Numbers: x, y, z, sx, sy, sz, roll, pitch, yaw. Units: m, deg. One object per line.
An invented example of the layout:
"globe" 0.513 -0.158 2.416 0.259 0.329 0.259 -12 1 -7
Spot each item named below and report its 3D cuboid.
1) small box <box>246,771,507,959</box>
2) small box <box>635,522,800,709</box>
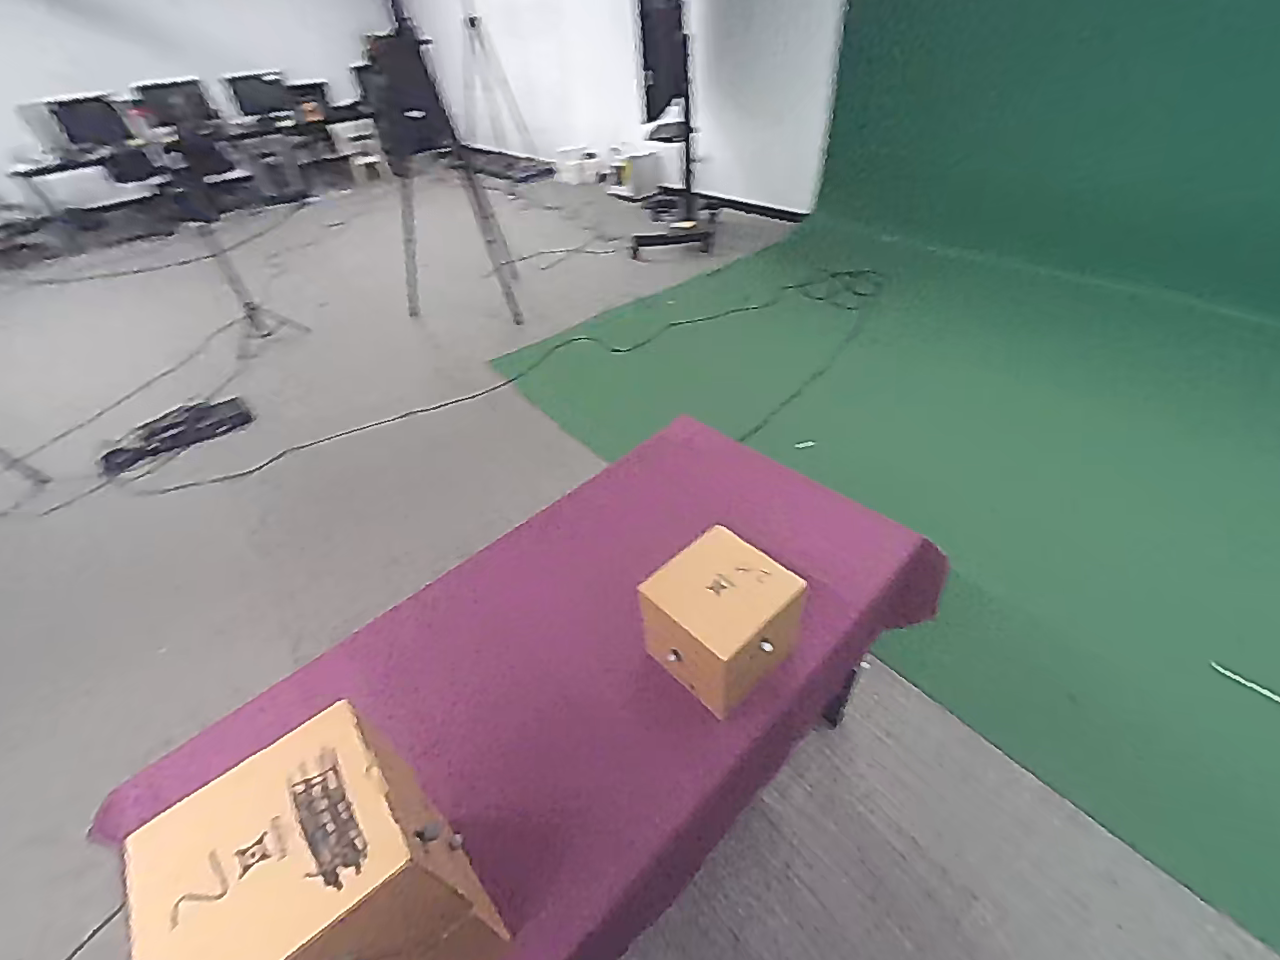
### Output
"small box" -0.267 0.463 0.573 0.168 0.176 0.179 -34 50 -28
"small box" 0.116 0.204 0.815 0.179 0.176 0.168 -34 49 -28
